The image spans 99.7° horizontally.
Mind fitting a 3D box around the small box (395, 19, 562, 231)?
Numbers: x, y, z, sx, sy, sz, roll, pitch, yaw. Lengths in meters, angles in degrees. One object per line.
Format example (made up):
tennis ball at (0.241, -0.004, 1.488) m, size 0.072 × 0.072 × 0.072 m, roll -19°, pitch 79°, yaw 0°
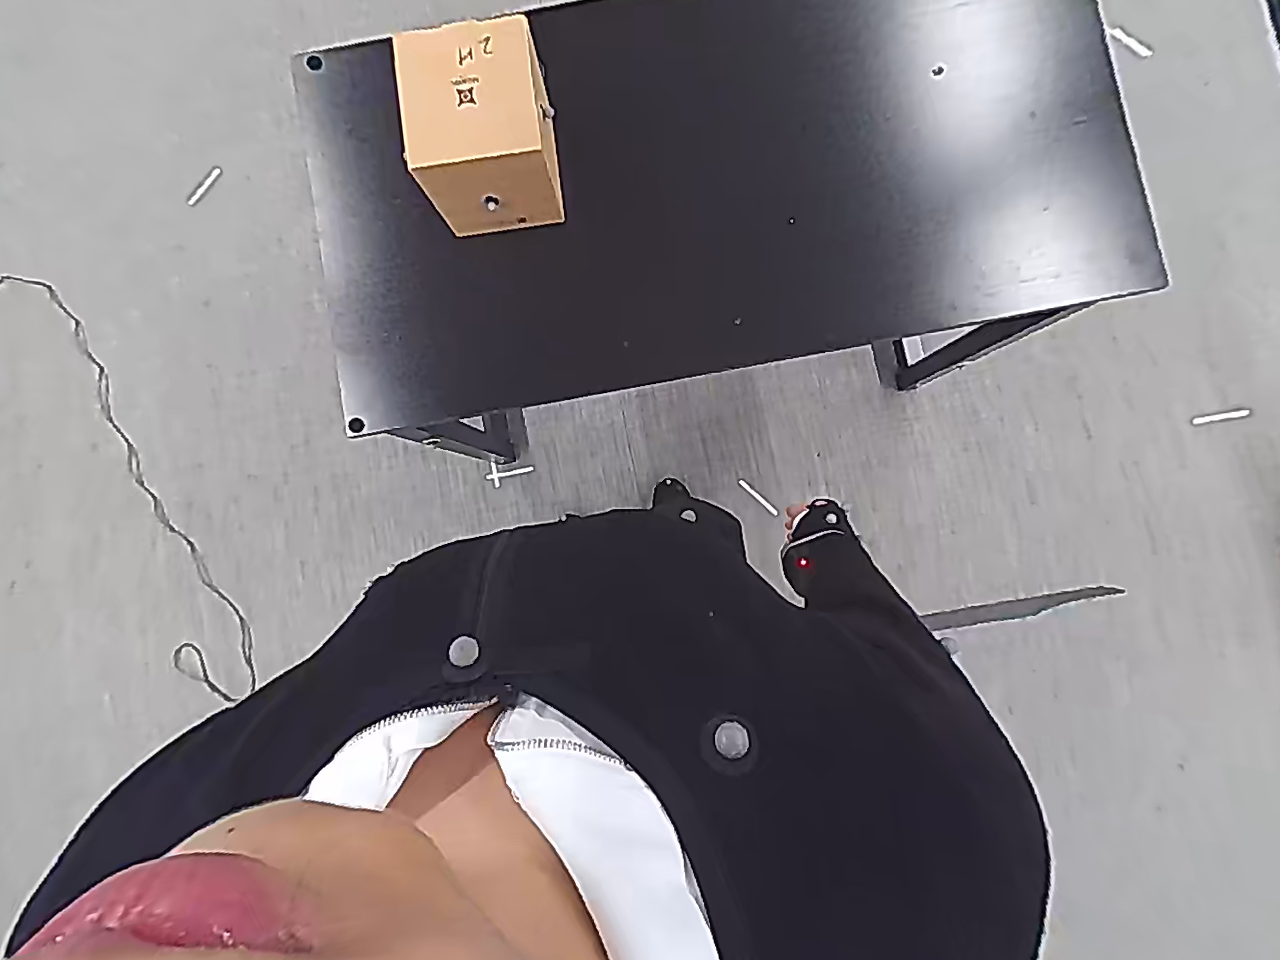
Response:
small box at (-0.207, -0.463, 0.736) m, size 0.168 × 0.176 × 0.179 m, roll -8°, pitch 86°, yaw 1°
